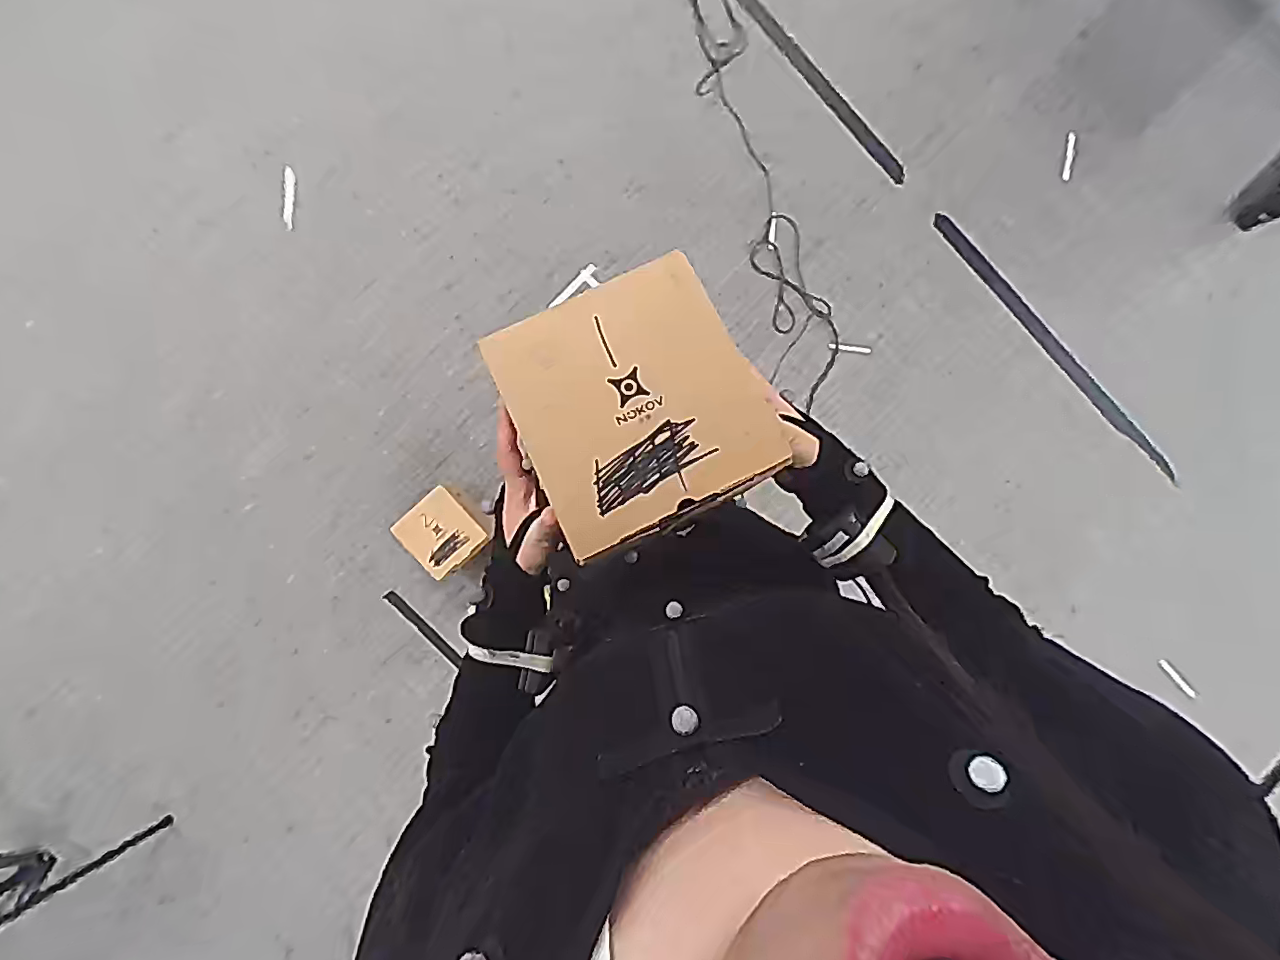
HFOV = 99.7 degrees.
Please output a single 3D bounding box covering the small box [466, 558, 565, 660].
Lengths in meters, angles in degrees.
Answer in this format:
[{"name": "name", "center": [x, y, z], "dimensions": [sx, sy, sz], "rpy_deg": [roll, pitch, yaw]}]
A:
[{"name": "small box", "center": [-0.310, 0.324, 1.393], "dimensions": [0.179, 0.176, 0.168], "rpy_deg": [-41, 93, -3]}]
